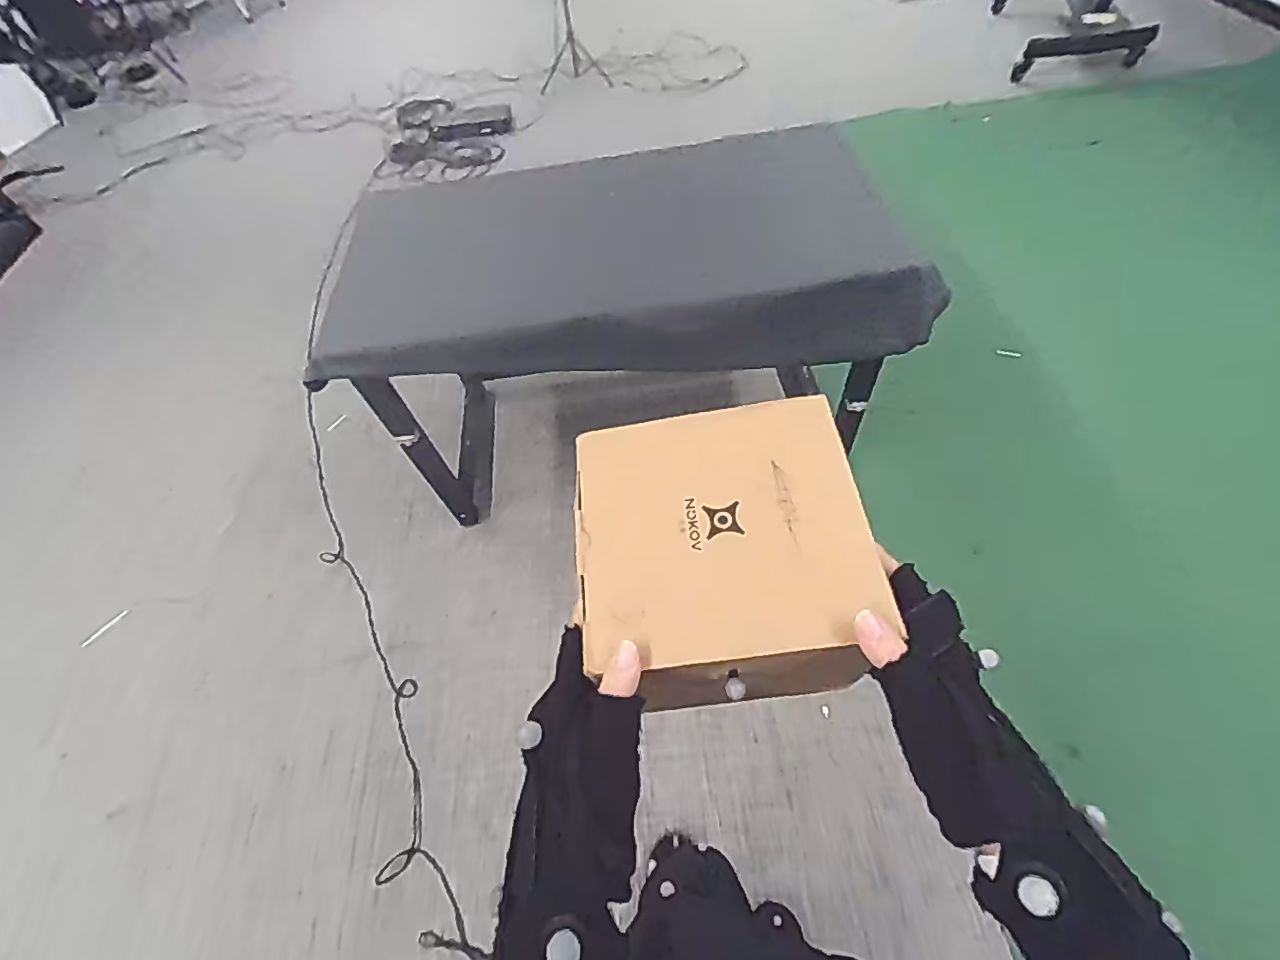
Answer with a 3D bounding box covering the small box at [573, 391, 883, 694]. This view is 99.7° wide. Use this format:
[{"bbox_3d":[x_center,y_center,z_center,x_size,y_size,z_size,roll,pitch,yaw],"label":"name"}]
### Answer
[{"bbox_3d":[0.055,0.059,0.415,0.179,0.176,0.168,-9,60,3],"label":"small box"}]
